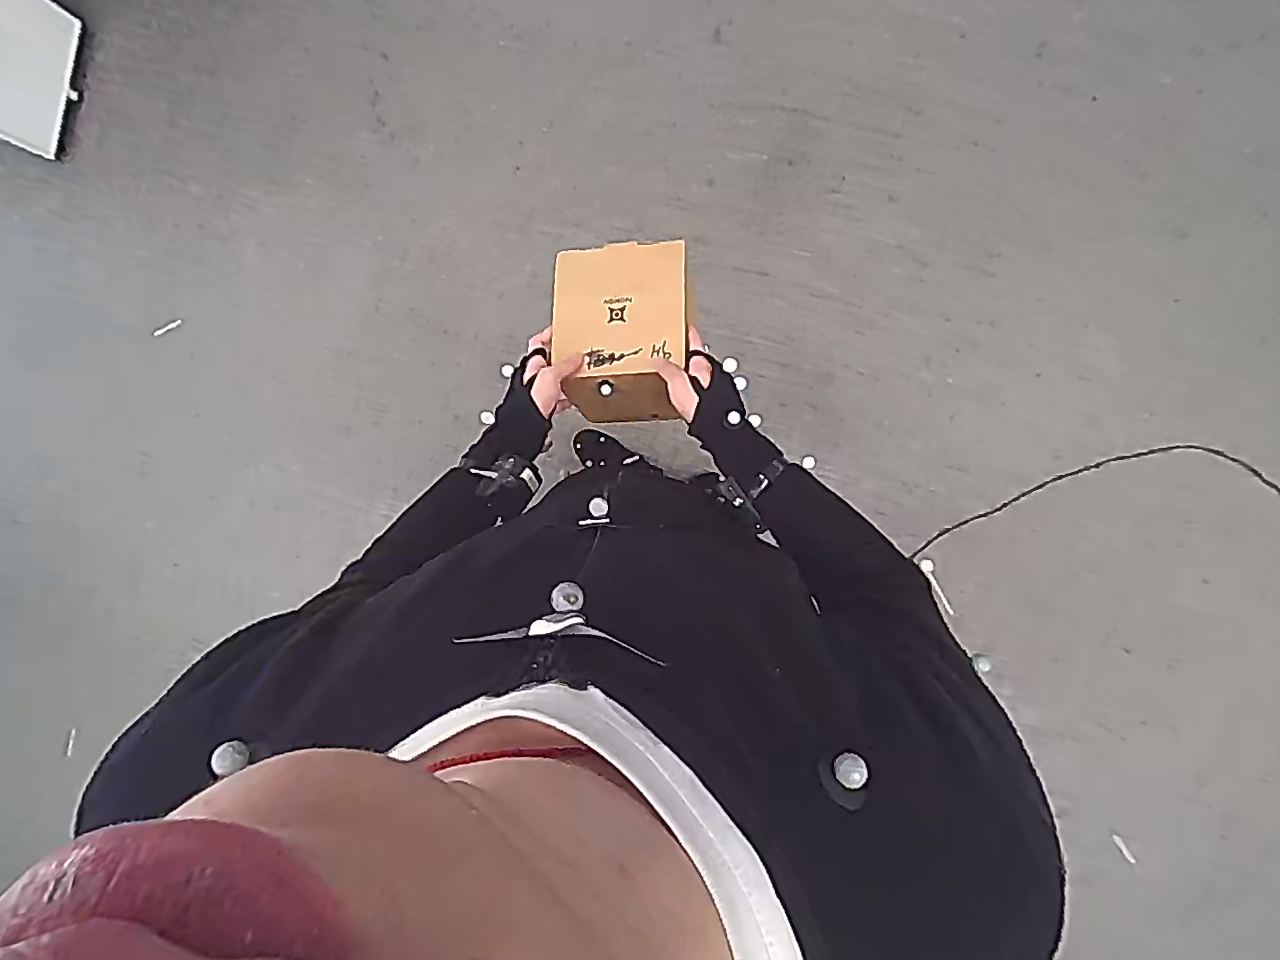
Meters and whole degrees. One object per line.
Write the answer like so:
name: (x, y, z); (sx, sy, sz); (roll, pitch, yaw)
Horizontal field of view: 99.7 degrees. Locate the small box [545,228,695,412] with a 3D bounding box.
small box: (-0.017, -0.204, 0.728); (0.168, 0.176, 0.179); (-1, 77, 11)
